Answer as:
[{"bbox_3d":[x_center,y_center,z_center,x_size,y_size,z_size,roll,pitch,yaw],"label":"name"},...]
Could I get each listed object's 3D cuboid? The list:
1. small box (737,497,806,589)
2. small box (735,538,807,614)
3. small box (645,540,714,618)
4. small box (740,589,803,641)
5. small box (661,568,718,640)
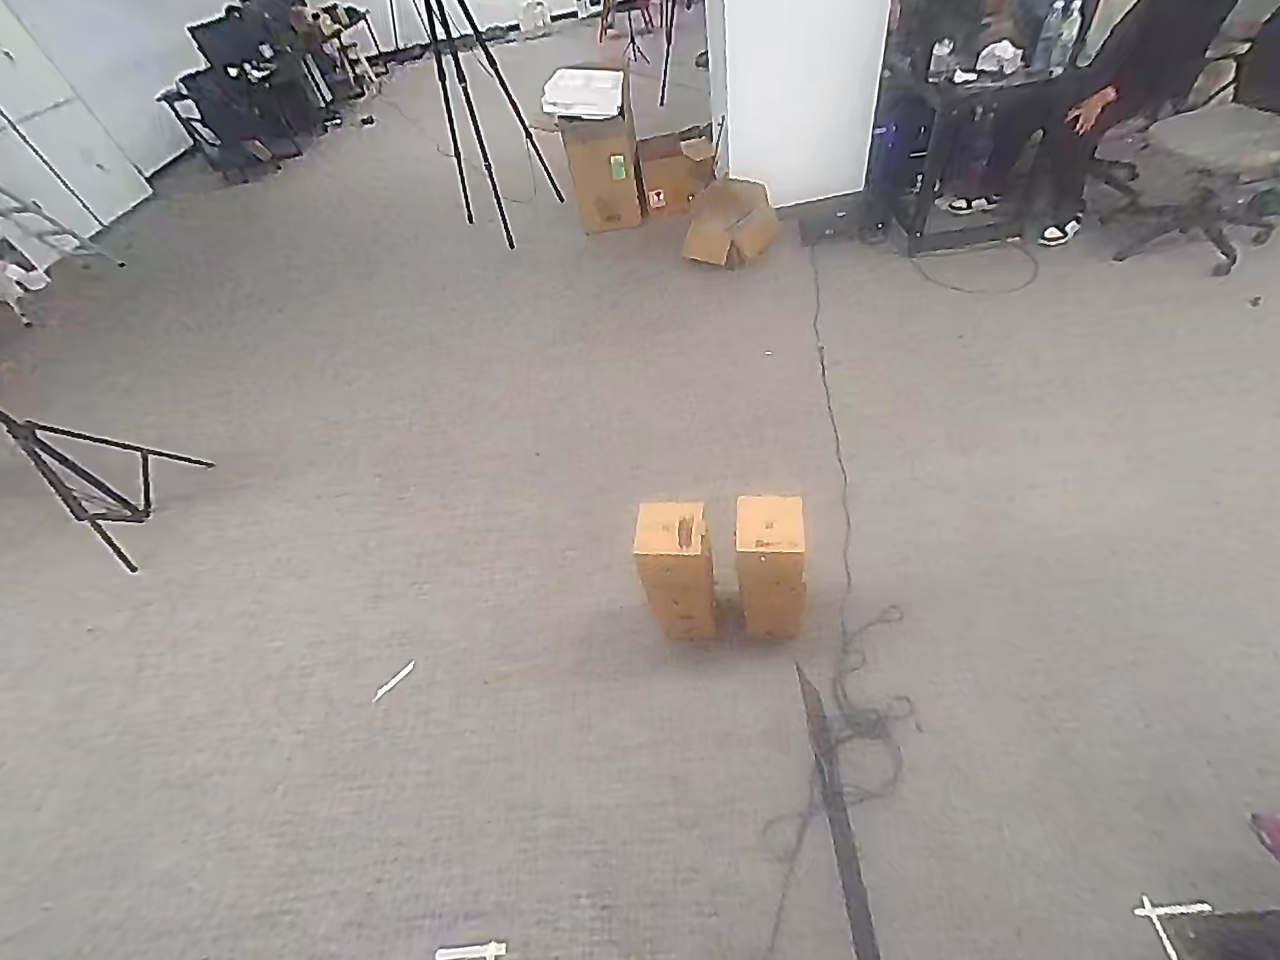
[{"bbox_3d":[0.341,0.164,1.417,0.168,0.176,0.179,0,49,13],"label":"small box"},{"bbox_3d":[0.371,0.269,1.540,0.179,0.176,0.168,-6,48,8],"label":"small box"},{"bbox_3d":[0.121,0.291,1.571,0.179,0.176,0.168,-1,49,13],"label":"small box"},{"bbox_3d":[0.398,0.373,1.661,0.168,0.176,0.179,-7,49,7],"label":"small box"},{"bbox_3d":[0.155,0.385,1.702,0.168,0.176,0.179,-4,49,10],"label":"small box"}]
